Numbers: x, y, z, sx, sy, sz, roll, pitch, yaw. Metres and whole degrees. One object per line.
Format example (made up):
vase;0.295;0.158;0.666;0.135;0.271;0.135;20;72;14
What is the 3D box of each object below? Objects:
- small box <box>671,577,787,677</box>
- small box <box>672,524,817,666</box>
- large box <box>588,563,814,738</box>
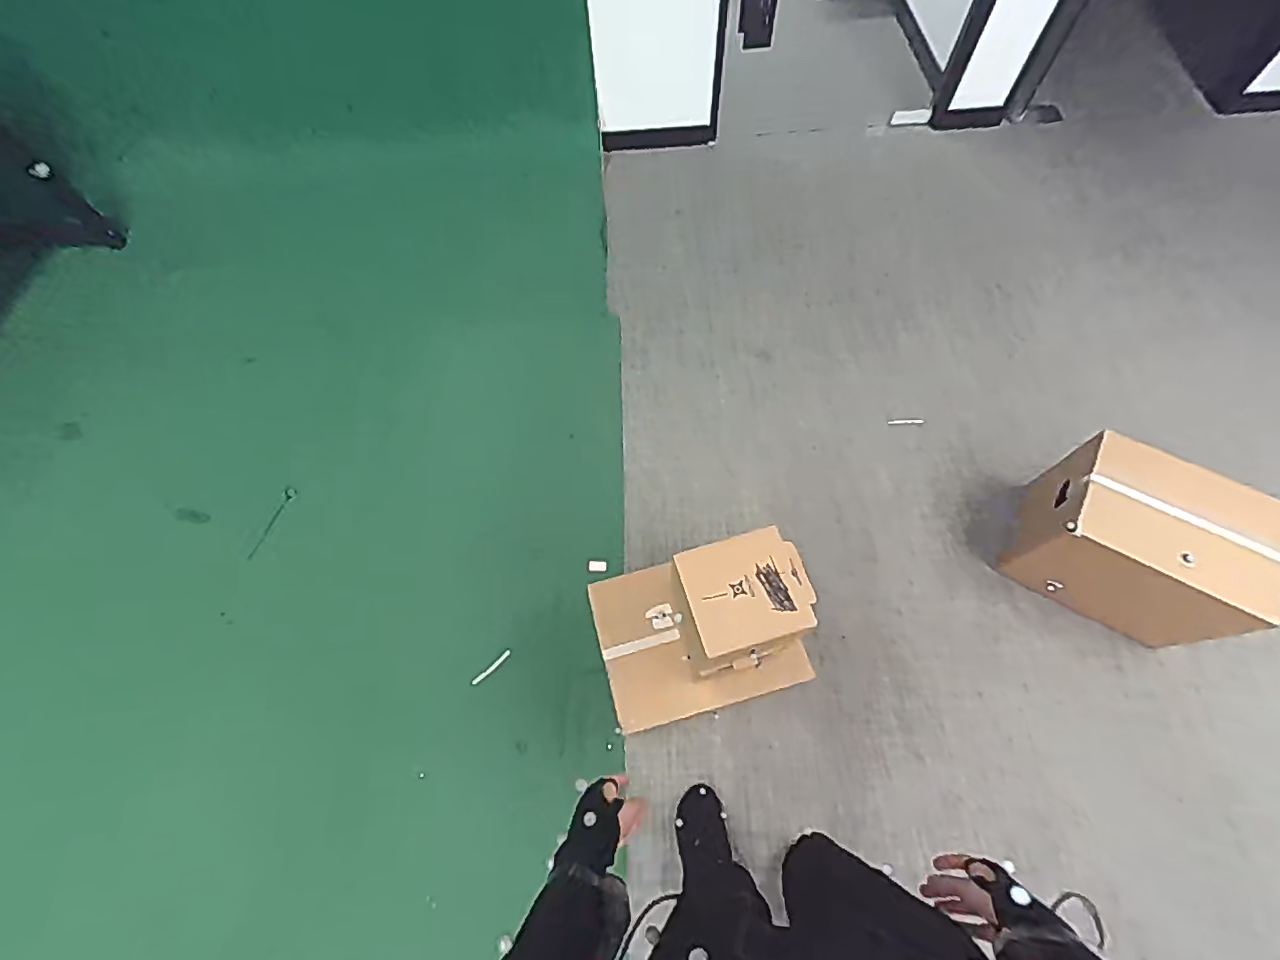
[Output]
small box;0.161;0.269;1.034;0.168;0.176;0.179;-14;64;-5
small box;0.158;0.194;0.888;0.179;0.176;0.168;-16;64;-5
large box;0.127;0.377;1.256;0.408;0.320;0.320;-16;63;-4
